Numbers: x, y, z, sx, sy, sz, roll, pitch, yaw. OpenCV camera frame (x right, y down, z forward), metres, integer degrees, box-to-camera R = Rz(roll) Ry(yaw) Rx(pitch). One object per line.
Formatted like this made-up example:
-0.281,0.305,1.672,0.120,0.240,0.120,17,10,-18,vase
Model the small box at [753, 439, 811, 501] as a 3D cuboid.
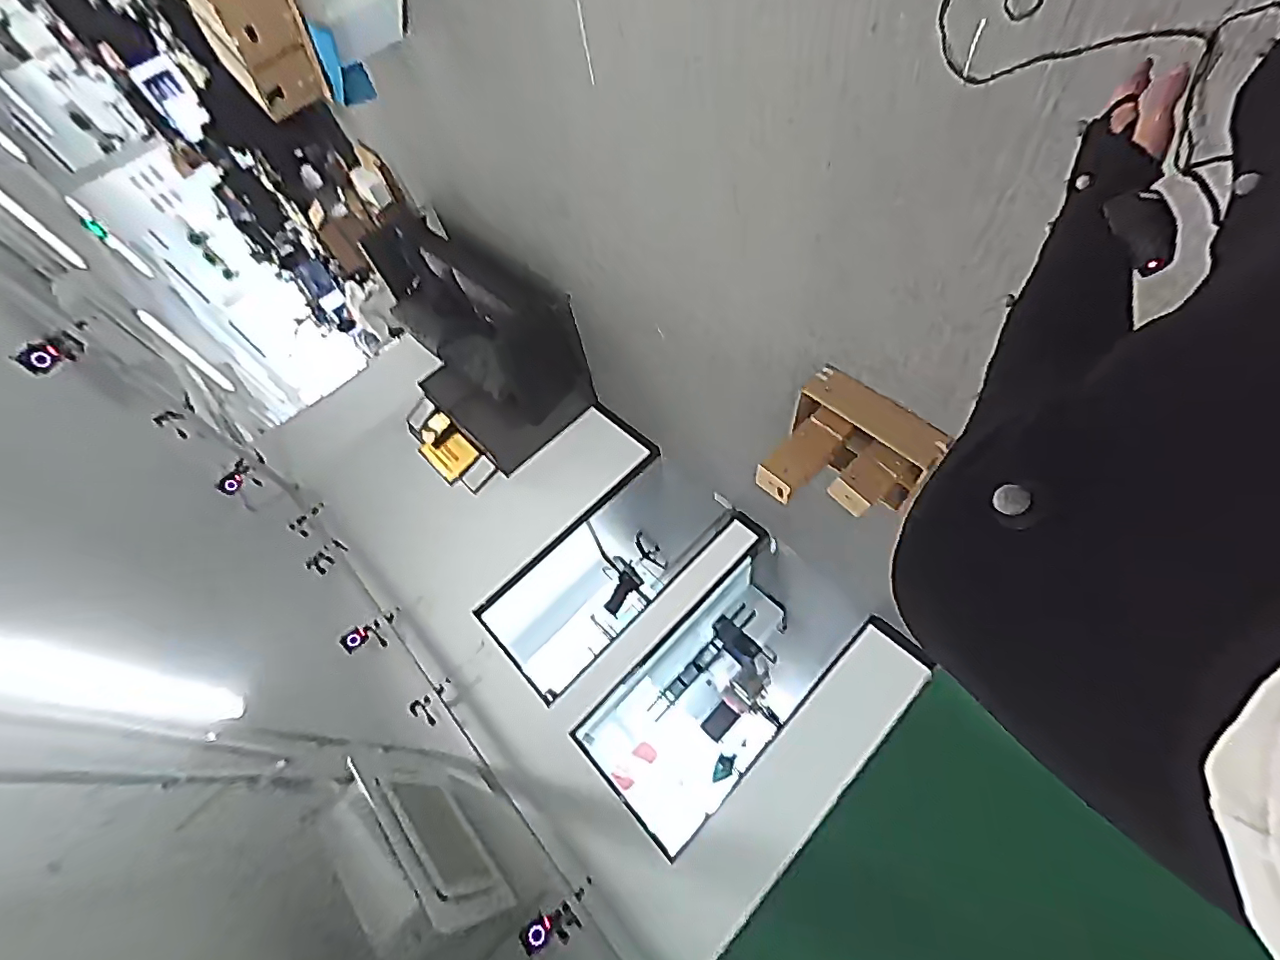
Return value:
0.623,-0.048,2.368,0.179,0.176,0.168,41,162,24,small box
